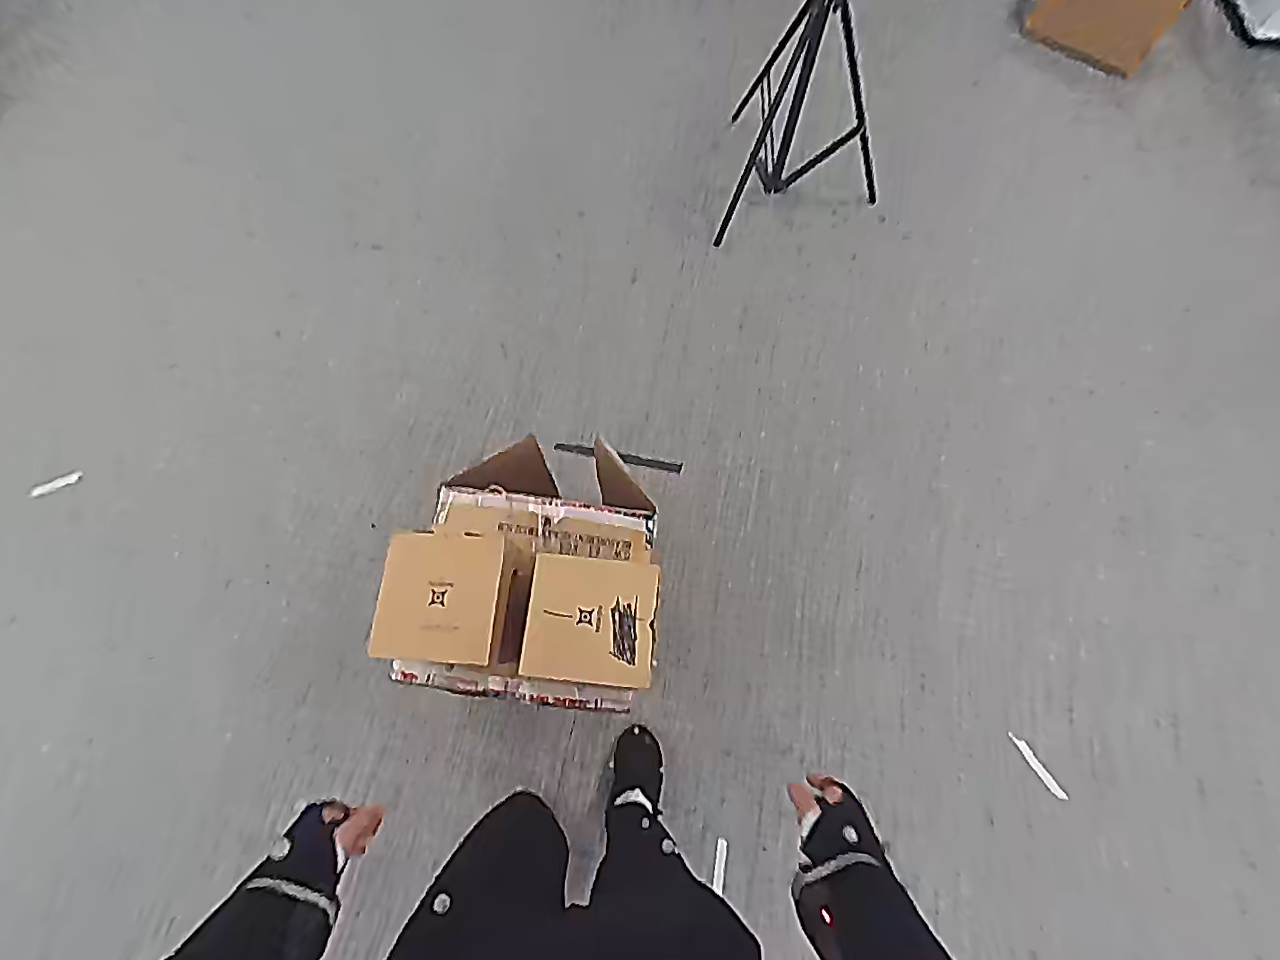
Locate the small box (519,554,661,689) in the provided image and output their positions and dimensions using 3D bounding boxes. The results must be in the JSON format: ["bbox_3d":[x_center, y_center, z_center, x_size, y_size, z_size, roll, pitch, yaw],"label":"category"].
[{"bbox_3d":[-0.067,0.213,0.811,0.179,0.176,0.168,6,72,1],"label":"small box"}]

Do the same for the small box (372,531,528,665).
[{"bbox_3d":[-0.272,0.182,0.820,0.168,0.176,0.179,2,74,2],"label":"small box"}]
